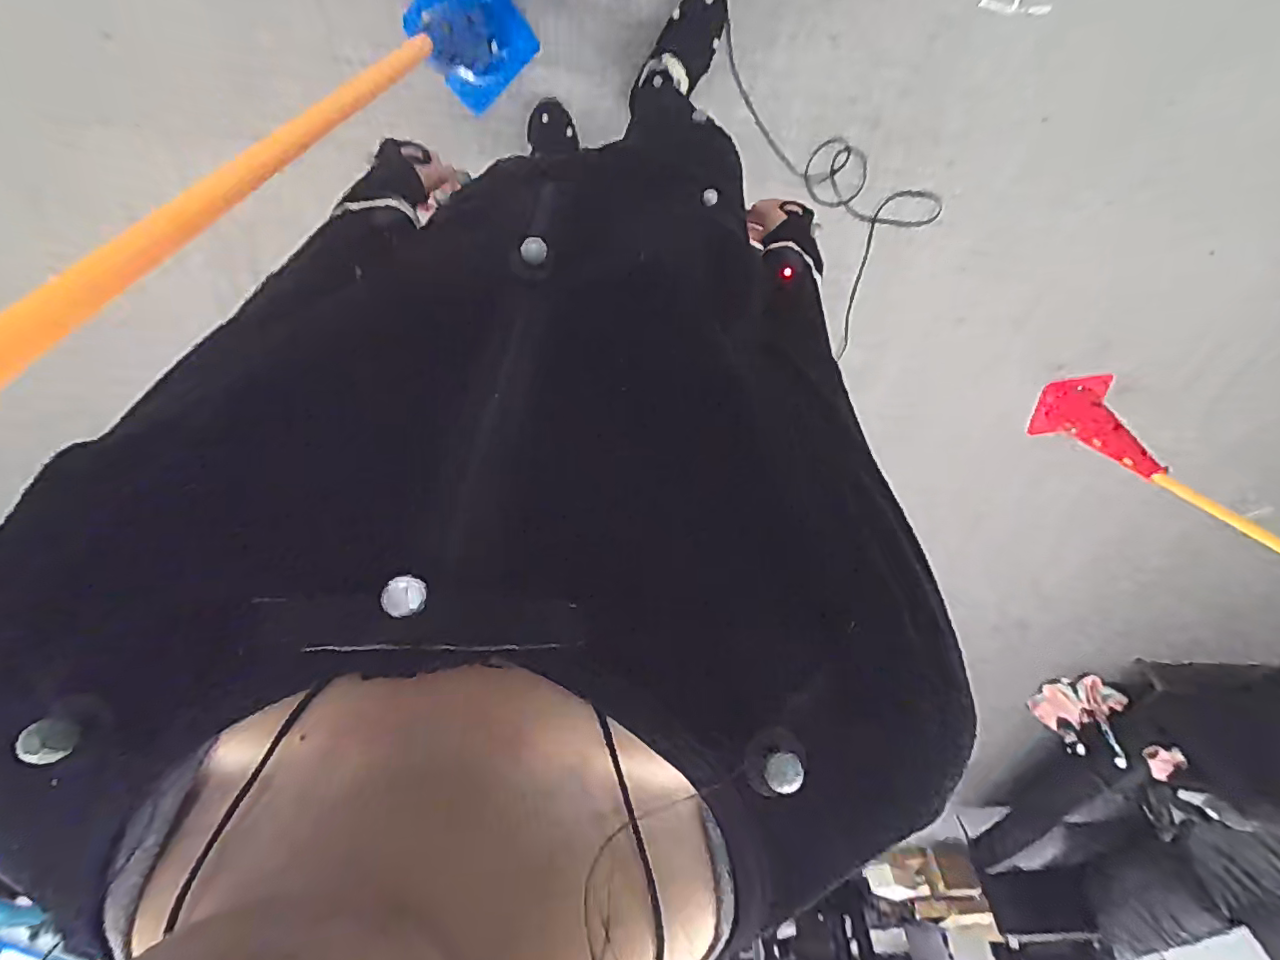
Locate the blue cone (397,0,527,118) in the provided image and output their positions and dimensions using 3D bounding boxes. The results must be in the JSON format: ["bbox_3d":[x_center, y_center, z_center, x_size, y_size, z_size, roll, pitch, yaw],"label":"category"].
[{"bbox_3d":[-0.330,-0.728,0.922,0.193,0.380,0.192,-32,126,25],"label":"blue cone"}]
